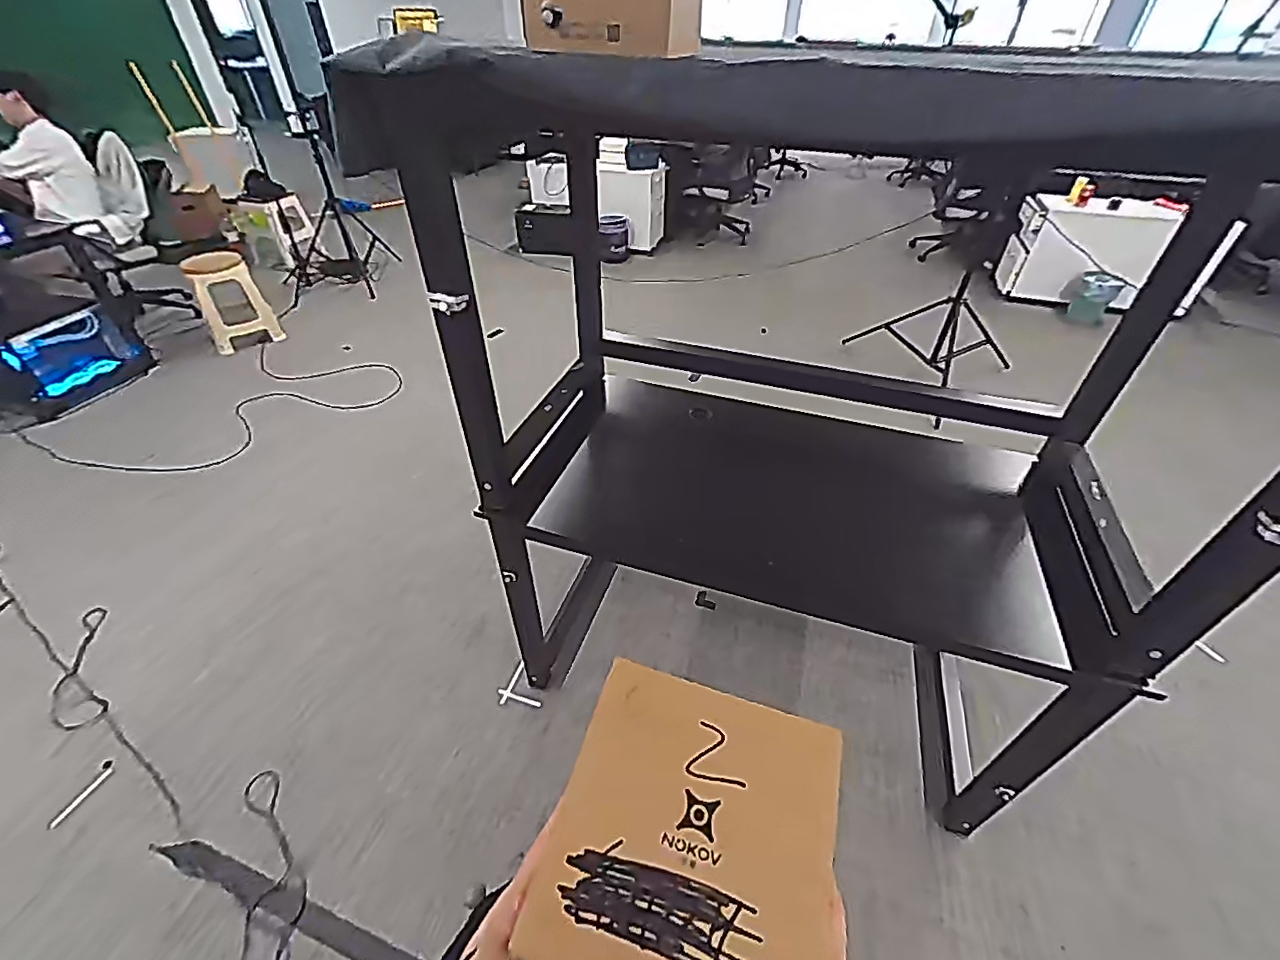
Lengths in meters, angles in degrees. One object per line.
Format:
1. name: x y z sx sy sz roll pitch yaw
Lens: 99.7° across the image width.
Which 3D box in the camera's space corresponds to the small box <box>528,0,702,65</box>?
1. small box: -0.021 -0.571 0.601 0.168 0.176 0.179 12 40 11
